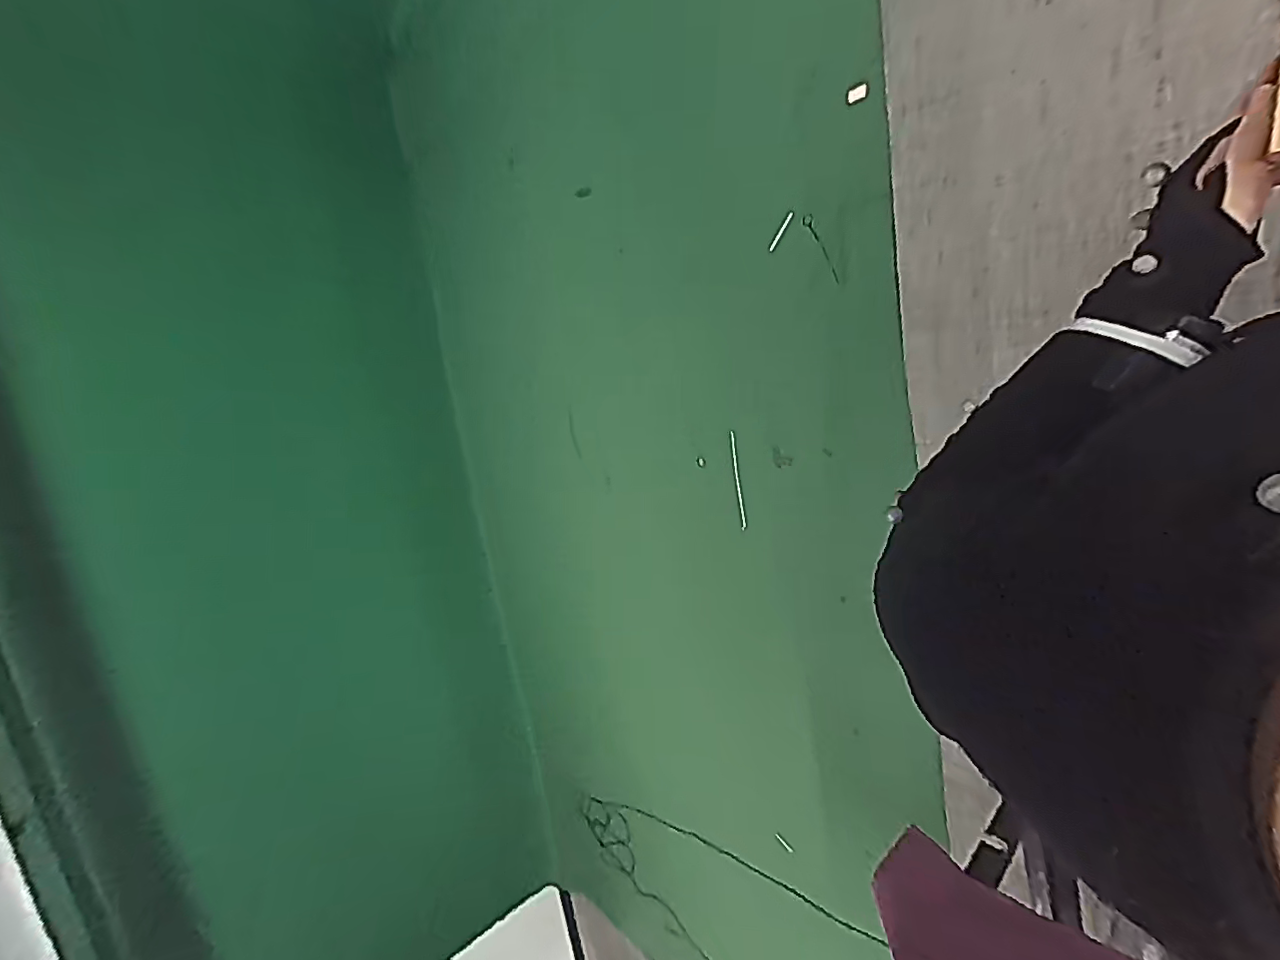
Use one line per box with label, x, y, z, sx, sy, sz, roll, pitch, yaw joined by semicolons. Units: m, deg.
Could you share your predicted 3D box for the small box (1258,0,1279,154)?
small box;0.431;-0.269;0.249;0.179;0.176;0.168;9;116;48
